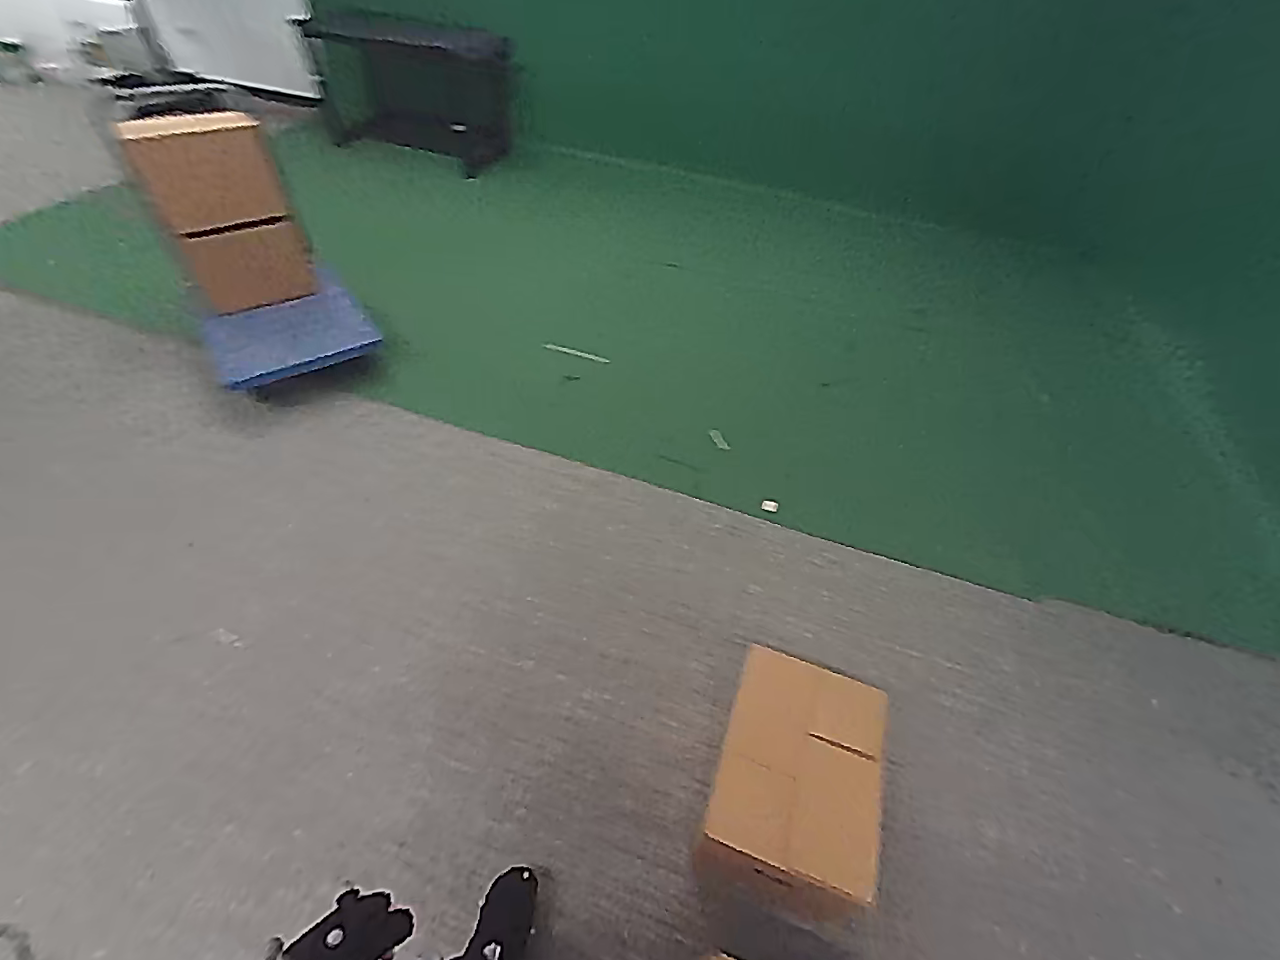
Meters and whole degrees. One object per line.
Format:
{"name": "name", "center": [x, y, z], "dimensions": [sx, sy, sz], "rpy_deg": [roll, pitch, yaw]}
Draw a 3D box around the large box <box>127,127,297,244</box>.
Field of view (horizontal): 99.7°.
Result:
{"name": "large box", "center": [-1.620, -1.135, 2.067], "dimensions": [0.408, 0.320, 0.320], "rpy_deg": [-28, 50, -29]}
